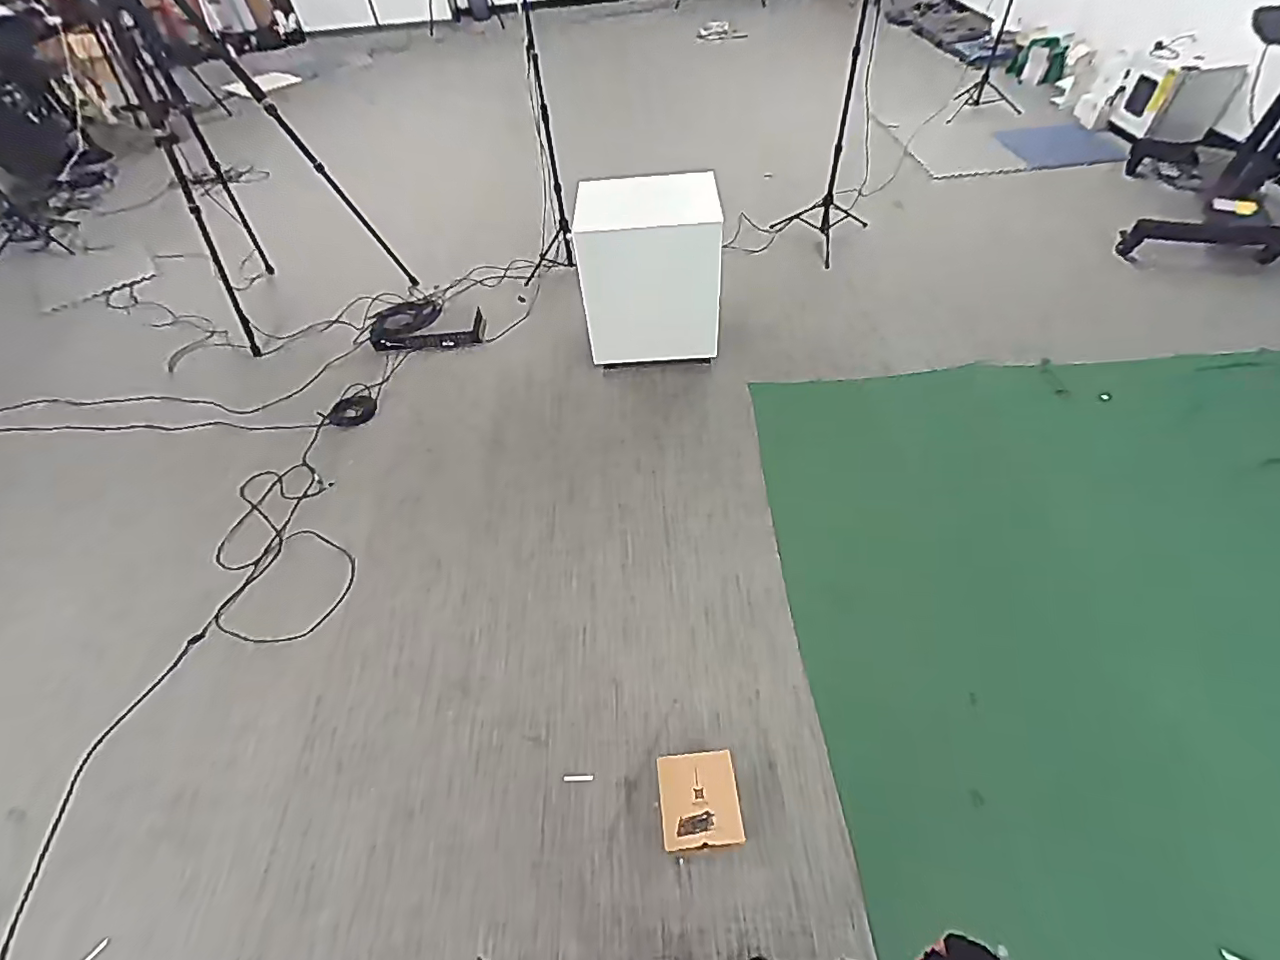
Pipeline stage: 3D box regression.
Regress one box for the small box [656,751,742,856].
[{"bbox_3d":[0.127,0.720,1.196,0.168,0.176,0.179,-6,50,0],"label":"small box"}]
